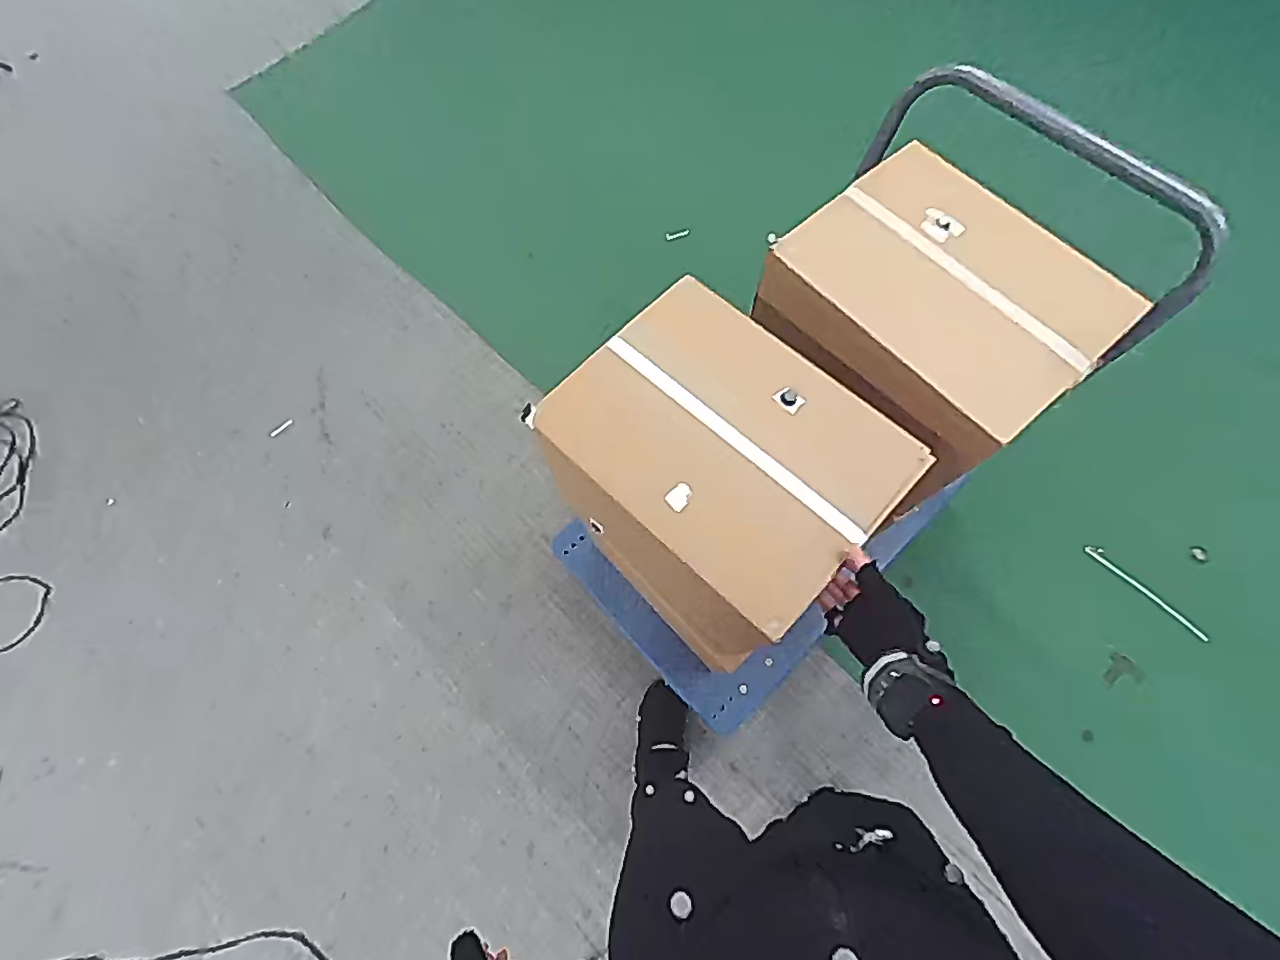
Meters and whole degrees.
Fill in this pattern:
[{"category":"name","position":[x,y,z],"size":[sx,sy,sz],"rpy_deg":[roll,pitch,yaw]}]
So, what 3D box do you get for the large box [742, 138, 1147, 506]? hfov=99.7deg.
[{"category":"large box","position":[0.423,-0.230,0.865],"size":[0.320,0.320,0.408],"rpy_deg":[-38,73,-11]}]
